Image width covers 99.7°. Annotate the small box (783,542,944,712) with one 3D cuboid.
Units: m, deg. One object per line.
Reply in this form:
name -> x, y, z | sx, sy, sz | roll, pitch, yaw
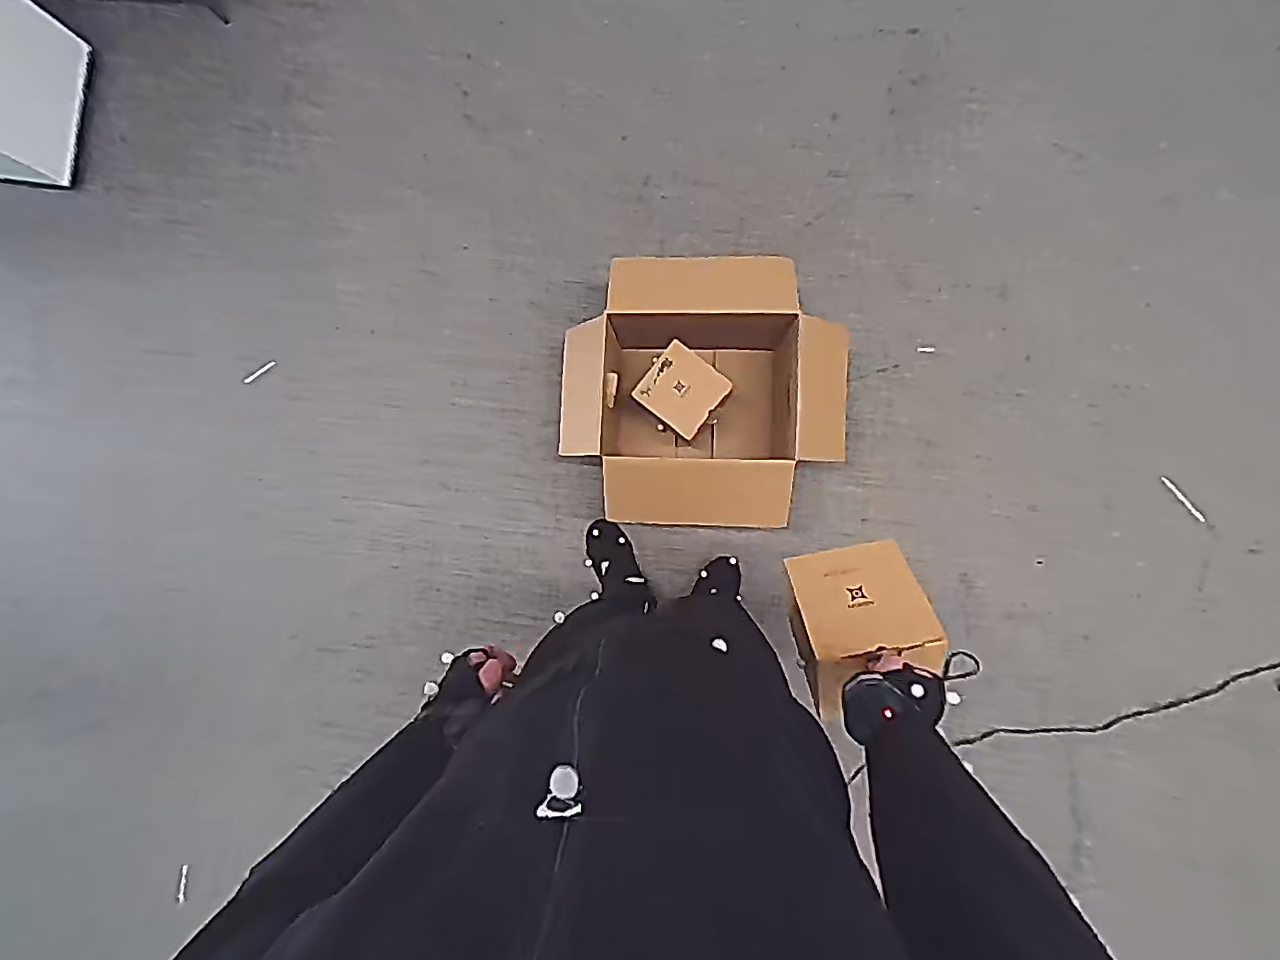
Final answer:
small box -> 0.318, 0.222, 0.798 | 0.168, 0.179, 0.176 | -11, 129, 5
